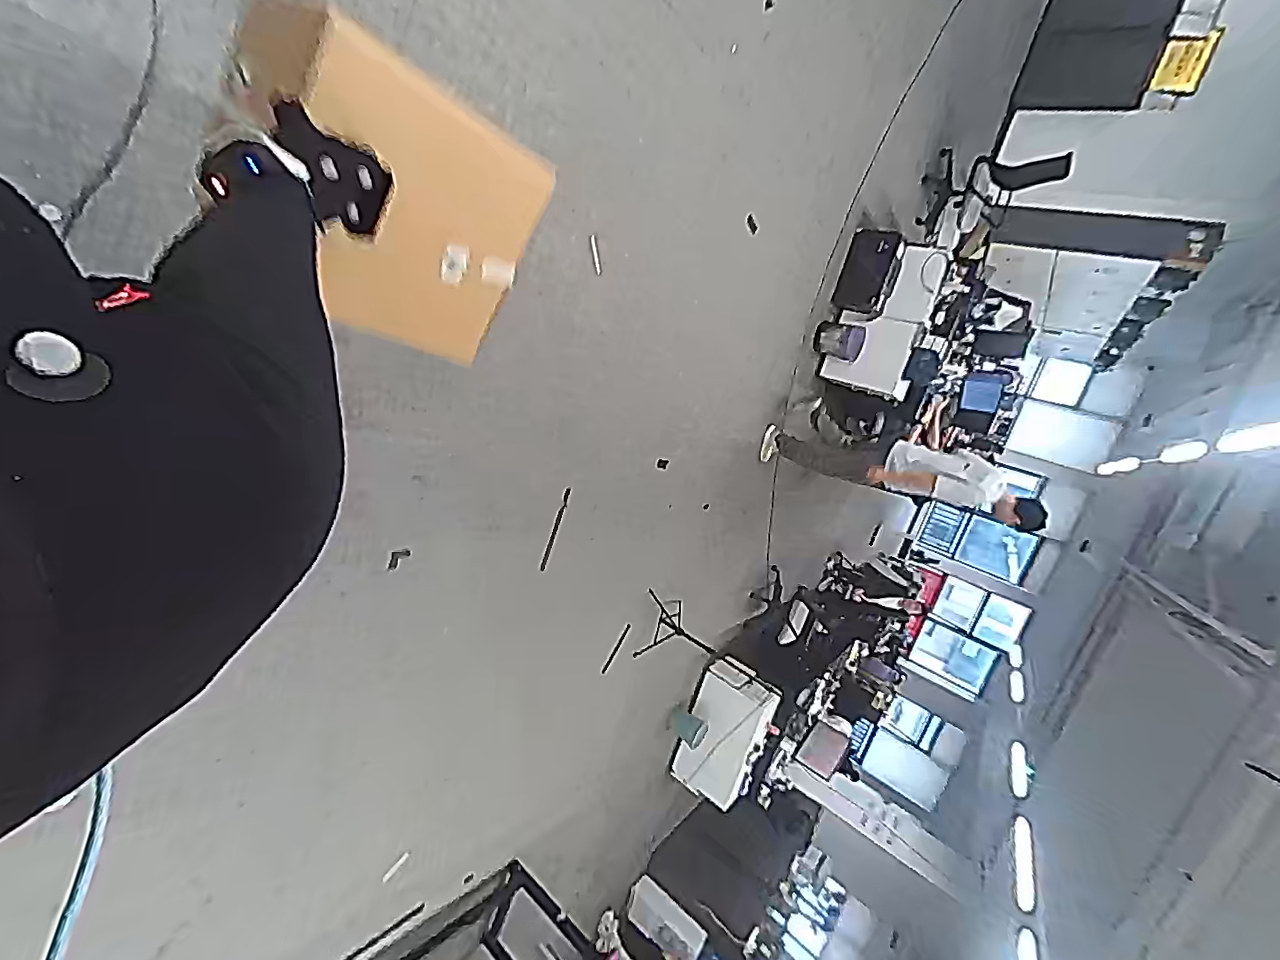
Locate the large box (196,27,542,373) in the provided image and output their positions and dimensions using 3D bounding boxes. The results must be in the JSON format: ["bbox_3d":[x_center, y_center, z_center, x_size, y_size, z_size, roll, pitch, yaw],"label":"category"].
[{"bbox_3d":[-0.424,-0.417,0.832,0.320,0.408,0.320,17,110,-51],"label":"large box"}]
